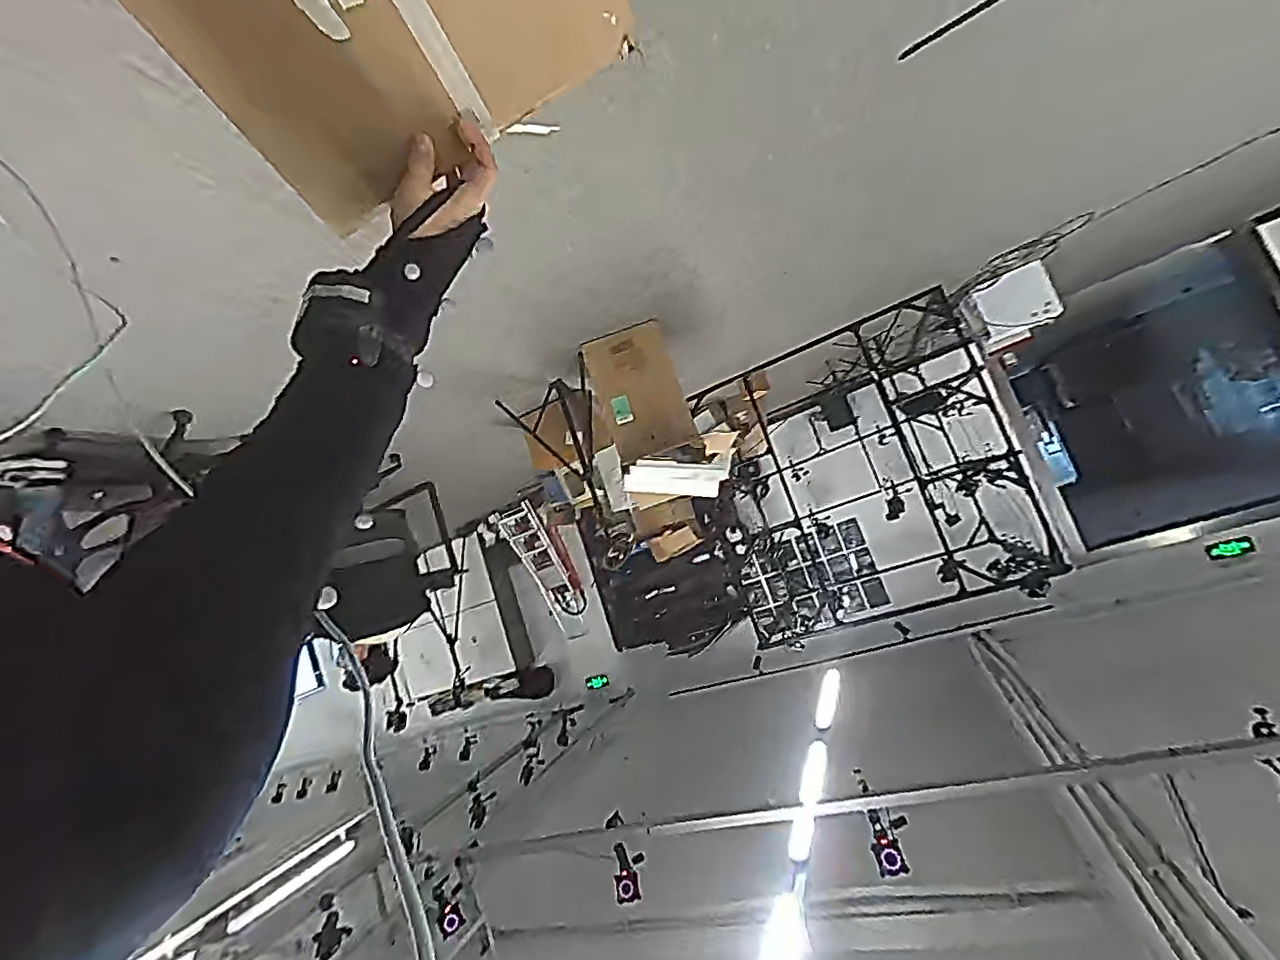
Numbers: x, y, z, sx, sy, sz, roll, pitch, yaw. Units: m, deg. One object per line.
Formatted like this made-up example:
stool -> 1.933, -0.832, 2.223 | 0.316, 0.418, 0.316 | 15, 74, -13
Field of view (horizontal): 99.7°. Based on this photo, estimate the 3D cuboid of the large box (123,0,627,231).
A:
large box -> -0.270, -0.498, 0.404 | 0.320, 0.320, 0.408 | -32, 145, 3
